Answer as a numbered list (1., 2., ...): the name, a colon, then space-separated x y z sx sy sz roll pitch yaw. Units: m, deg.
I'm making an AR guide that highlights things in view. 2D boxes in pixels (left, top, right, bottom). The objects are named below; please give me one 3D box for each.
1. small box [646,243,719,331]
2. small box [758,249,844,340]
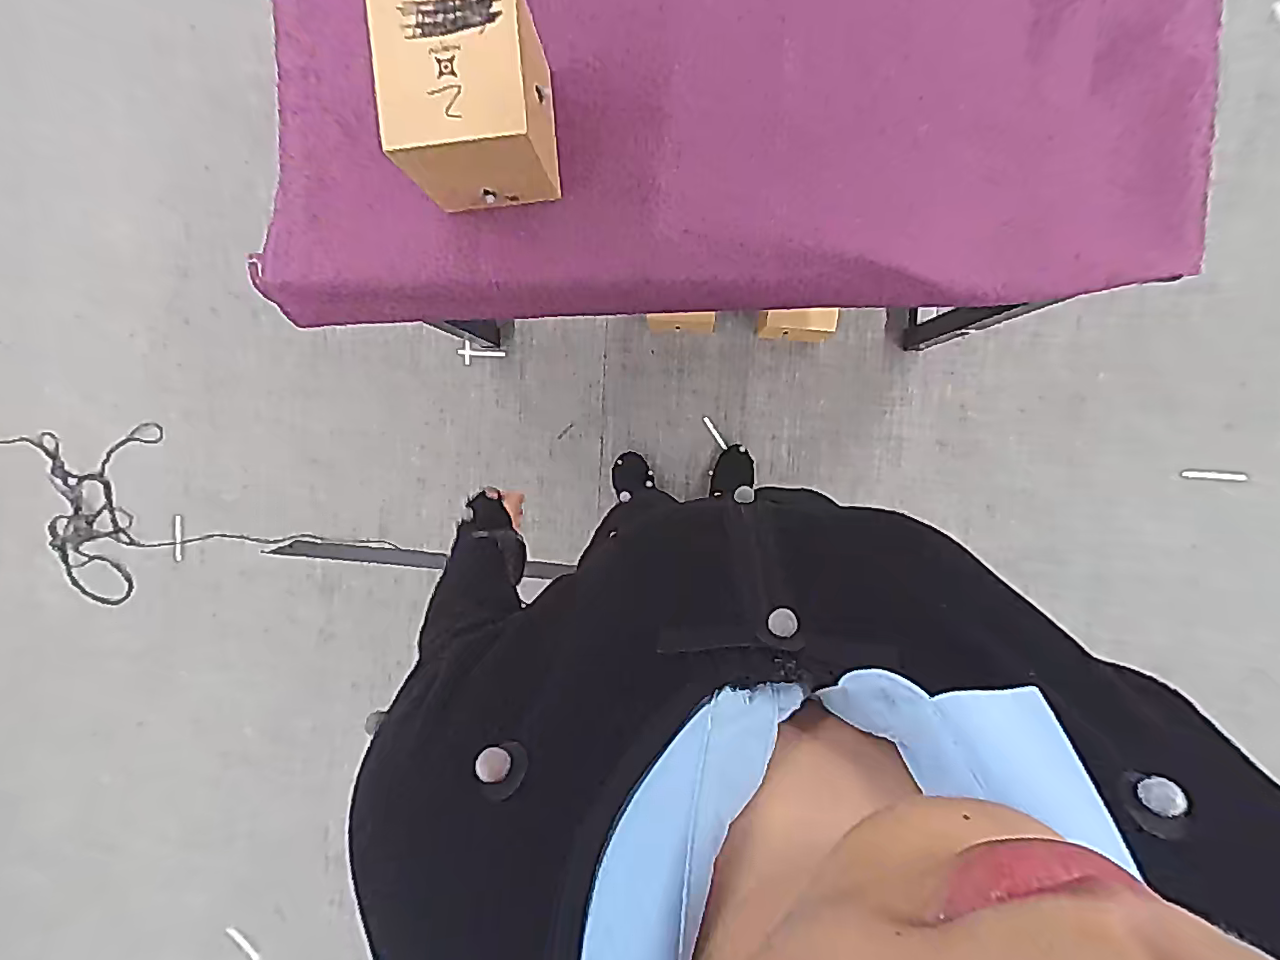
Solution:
1. small box: 0.108 -0.482 1.373 0.168 0.176 0.179 4 95 3
2. small box: 0.396 -0.457 1.357 0.168 0.176 0.179 6 95 4
